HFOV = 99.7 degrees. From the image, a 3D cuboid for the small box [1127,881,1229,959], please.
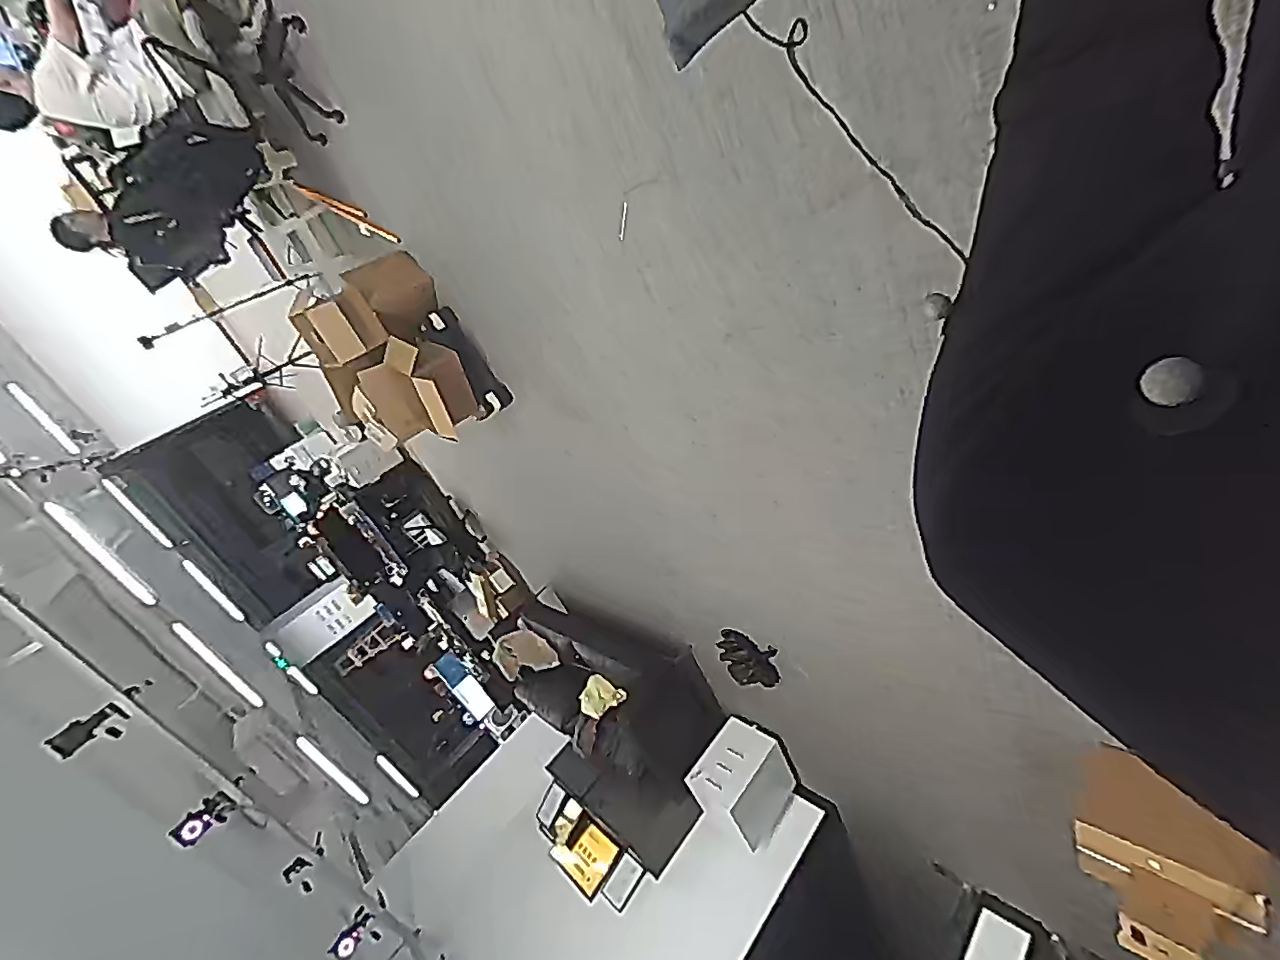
[{"bbox_3d":[1.524,1.291,1.535,0.179,0.176,0.168,12,130,47],"label":"small box"}]
